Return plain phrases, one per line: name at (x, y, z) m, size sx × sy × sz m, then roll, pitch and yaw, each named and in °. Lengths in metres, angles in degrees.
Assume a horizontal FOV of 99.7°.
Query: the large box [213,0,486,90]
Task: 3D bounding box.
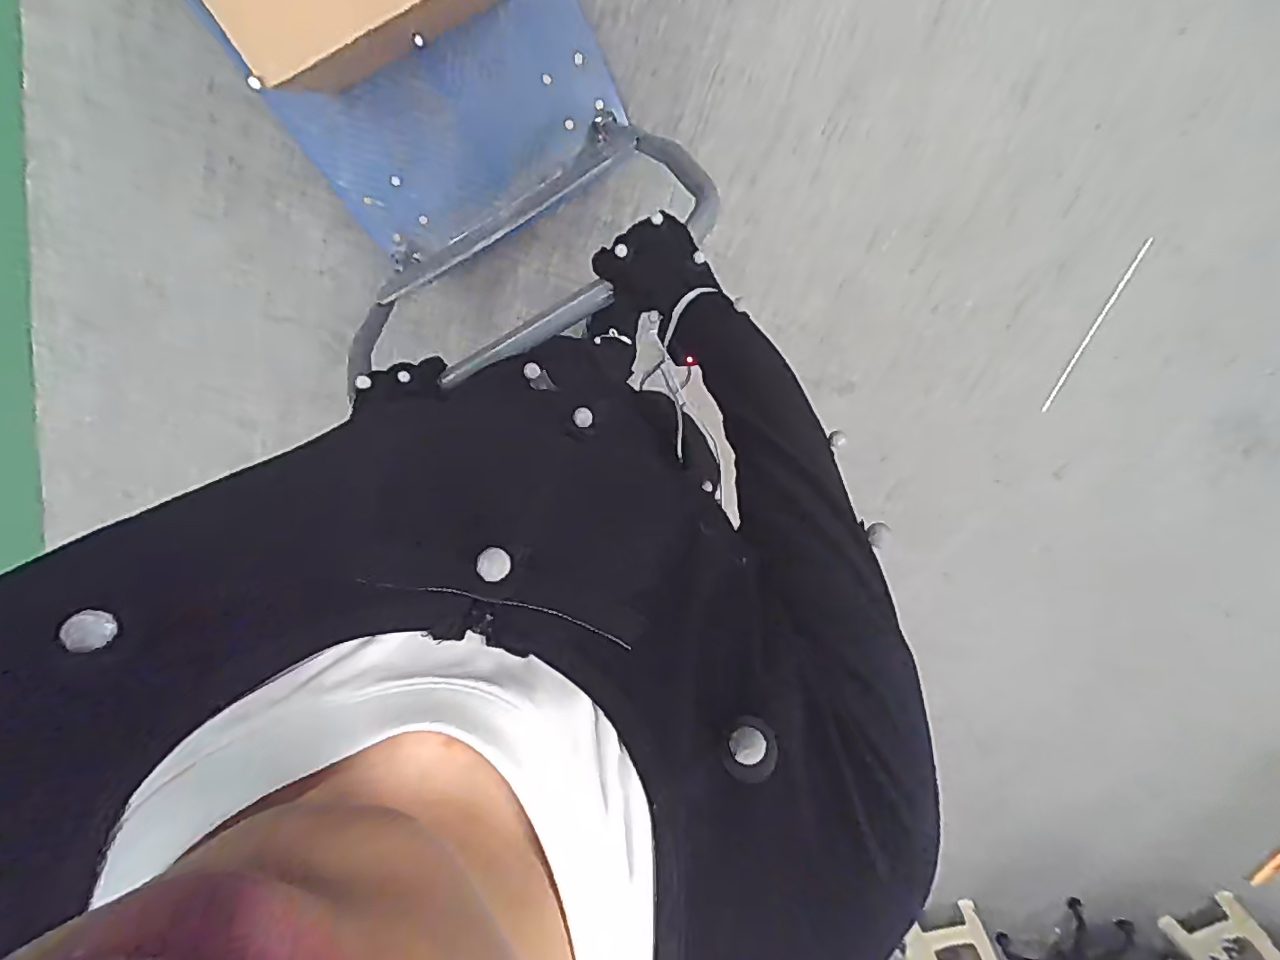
large box at (-0.406, -0.814, 0.753) m, size 0.408 × 0.320 × 0.320 m, roll -24°, pitch 126°, yaw 6°
